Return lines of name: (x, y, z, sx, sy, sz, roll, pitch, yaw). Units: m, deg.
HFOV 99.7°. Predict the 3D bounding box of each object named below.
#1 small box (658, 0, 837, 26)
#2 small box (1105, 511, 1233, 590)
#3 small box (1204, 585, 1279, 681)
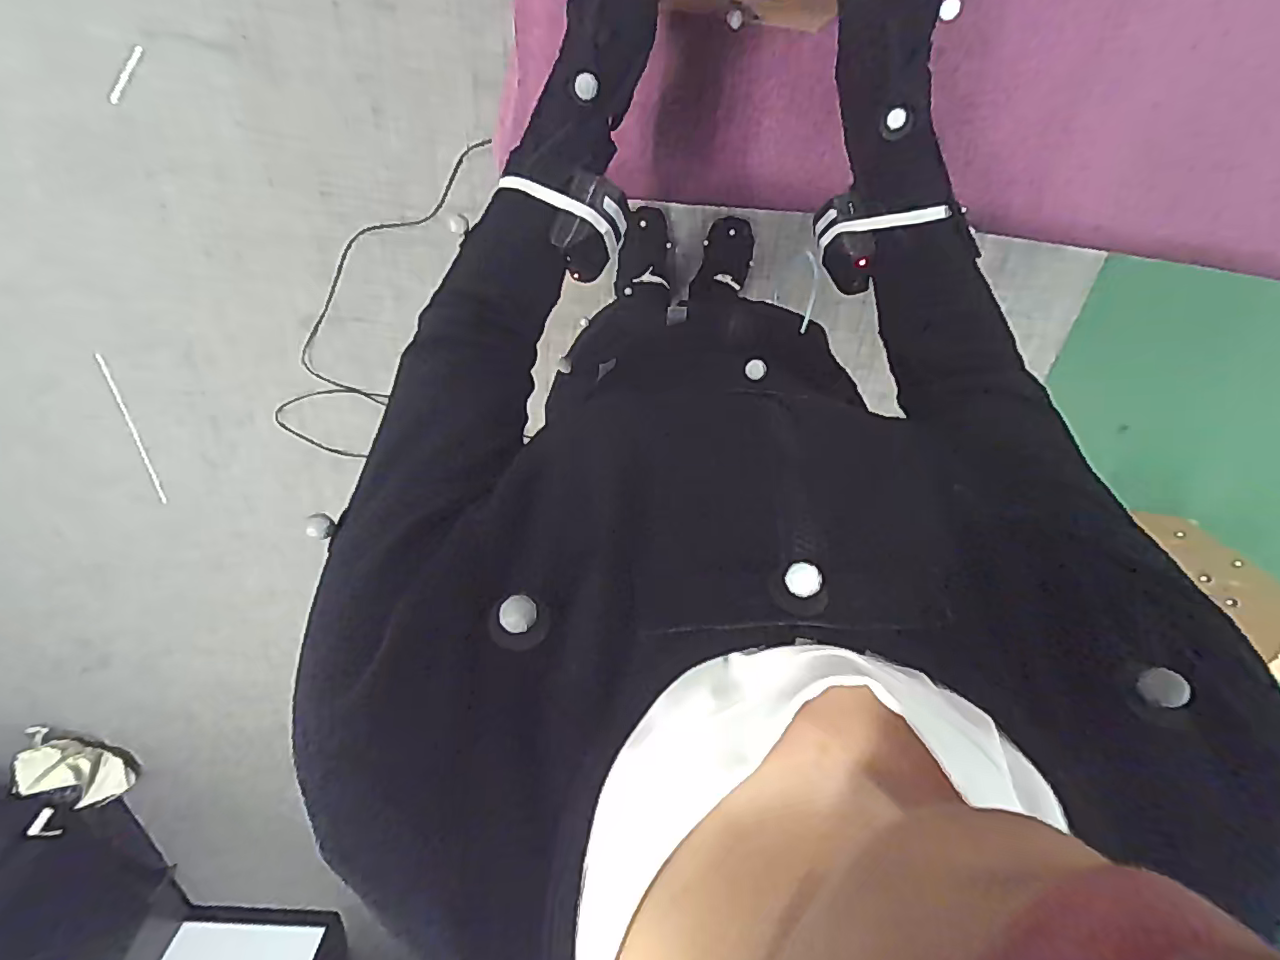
small box: (0.094, -0.476, 0.399, 0.168, 0.176, 0.179, 7, 120, -3)
small box: (1.569, 0.207, 1.618, 0.179, 0.176, 0.168, 6, 120, -2)
small box: (1.579, 0.374, 1.334, 0.179, 0.176, 0.168, 0, 121, -1)
